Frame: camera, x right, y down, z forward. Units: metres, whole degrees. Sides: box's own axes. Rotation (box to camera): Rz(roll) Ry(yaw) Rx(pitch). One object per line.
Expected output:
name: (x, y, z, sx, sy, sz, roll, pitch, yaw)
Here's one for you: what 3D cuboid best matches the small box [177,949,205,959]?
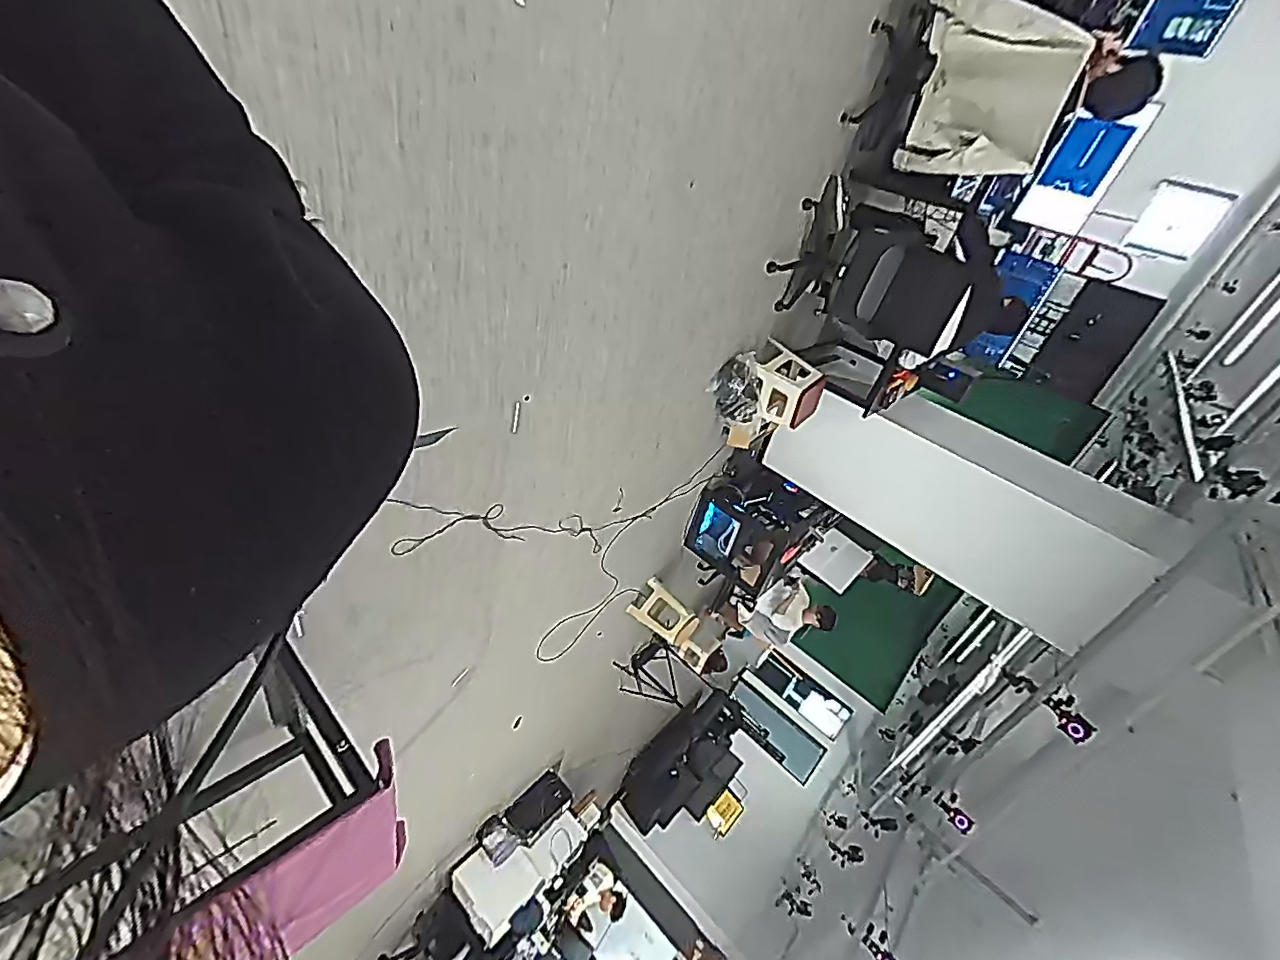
small box: (-1.055, 1.221, 1.219, 0.168, 0.176, 0.179, -23, 141, -47)
